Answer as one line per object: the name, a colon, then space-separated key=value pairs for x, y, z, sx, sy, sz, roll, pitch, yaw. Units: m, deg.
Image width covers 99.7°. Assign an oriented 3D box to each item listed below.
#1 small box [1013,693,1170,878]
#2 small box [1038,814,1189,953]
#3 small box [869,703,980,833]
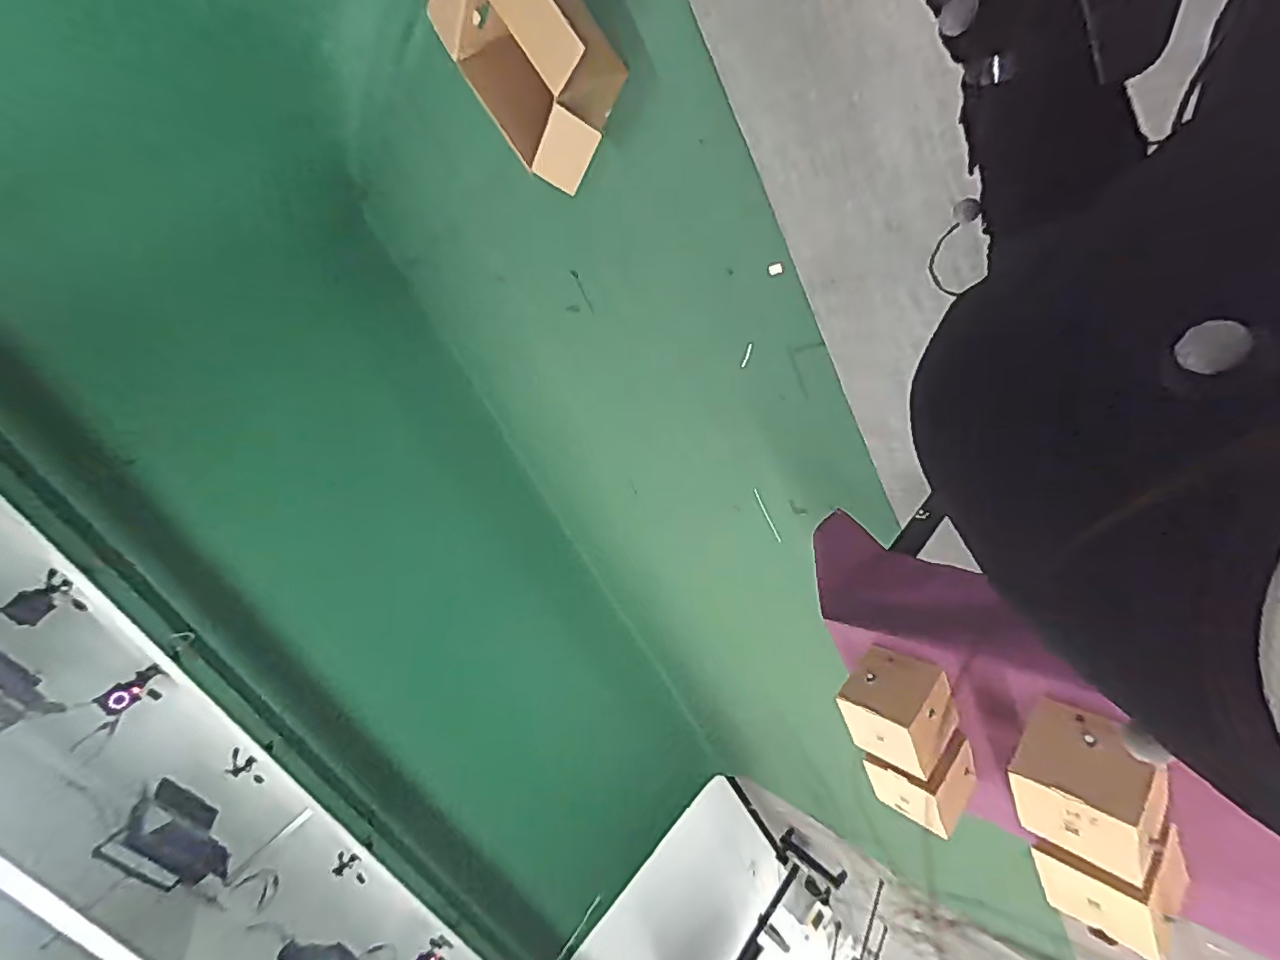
small box: x=0.766 y=0.504 z=0.913 sx=0.168 sy=0.176 sz=0.179 roll=9 pitch=132 yaw=53
small box: x=0.872 y=0.690 z=0.995 sx=0.168 sy=0.176 sz=0.179 roll=1 pitch=126 yaw=56
small box: x=0.669 y=0.663 z=1.268 sx=0.168 sy=0.176 sz=0.179 roll=11 pitch=133 yaw=52
